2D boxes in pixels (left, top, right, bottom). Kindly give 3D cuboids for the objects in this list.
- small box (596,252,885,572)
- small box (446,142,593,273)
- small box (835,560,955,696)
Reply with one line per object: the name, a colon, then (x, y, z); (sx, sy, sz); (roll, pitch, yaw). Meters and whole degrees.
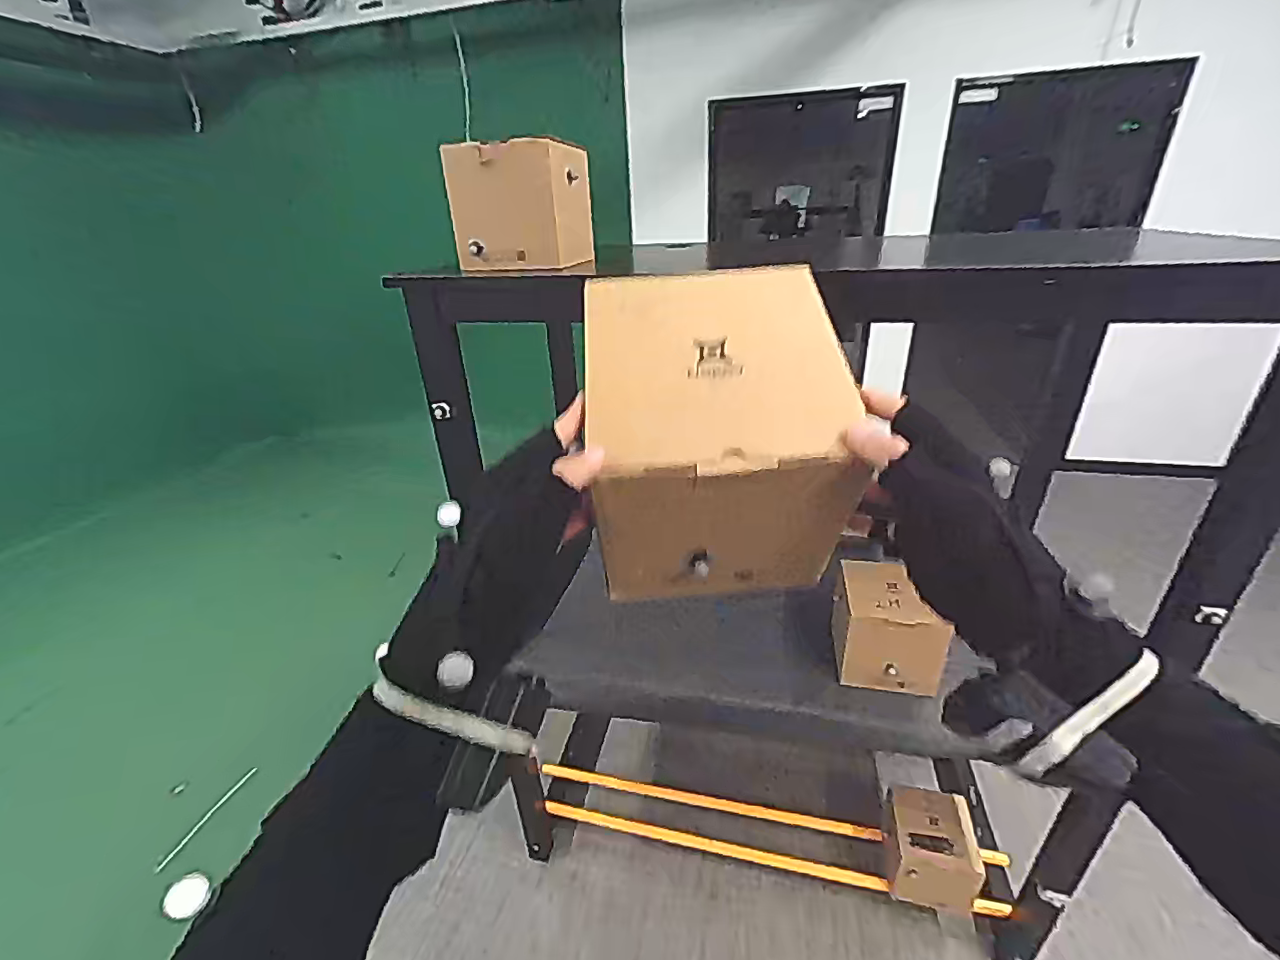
small box: (0.055, -0.048, 0.418); (0.168, 0.176, 0.179); (-5, 54, 0)
small box: (-0.176, -0.423, 0.859); (0.168, 0.176, 0.179); (4, 26, 12)
small box: (0.470, 0.275, 1.026); (0.168, 0.176, 0.179); (3, 25, 13)
